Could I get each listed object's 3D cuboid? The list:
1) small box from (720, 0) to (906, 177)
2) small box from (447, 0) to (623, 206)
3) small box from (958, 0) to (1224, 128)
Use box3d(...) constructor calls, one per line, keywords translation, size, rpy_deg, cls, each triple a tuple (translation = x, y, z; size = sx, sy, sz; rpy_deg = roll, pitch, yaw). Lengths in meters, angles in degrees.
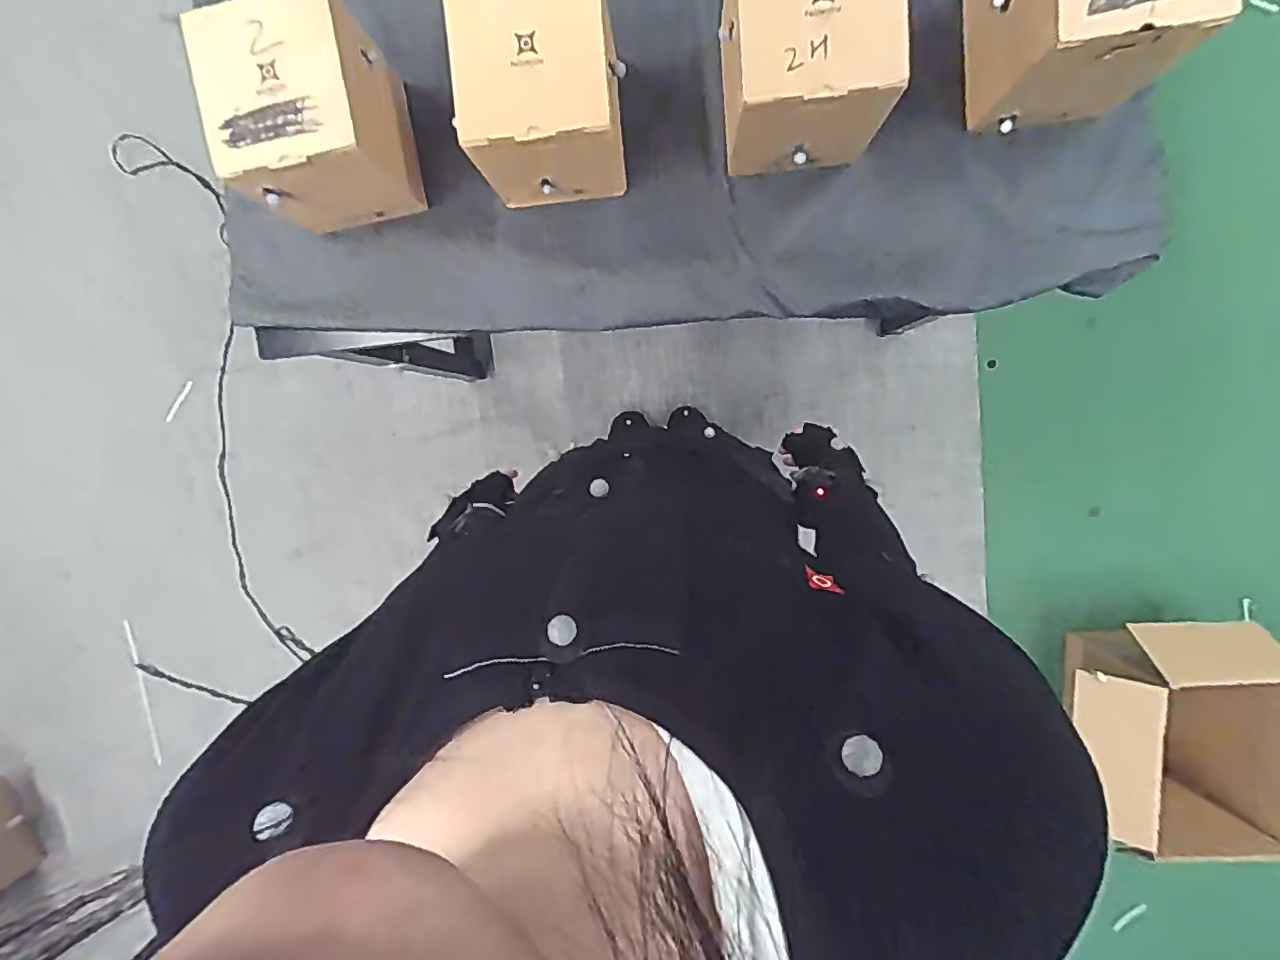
box3d(translation=(0.184, -0.481, 0.620), size=(0.168, 0.176, 0.179), rpy_deg=(-4, 96, 4), cls="small box")
box3d(translation=(-0.112, -0.453, 0.640), size=(0.168, 0.176, 0.179), rpy_deg=(-5, 97, 3), cls="small box")
box3d(translation=(0.480, -0.523, 0.599), size=(0.168, 0.176, 0.179), rpy_deg=(-5, 95, 4), cls="small box")
